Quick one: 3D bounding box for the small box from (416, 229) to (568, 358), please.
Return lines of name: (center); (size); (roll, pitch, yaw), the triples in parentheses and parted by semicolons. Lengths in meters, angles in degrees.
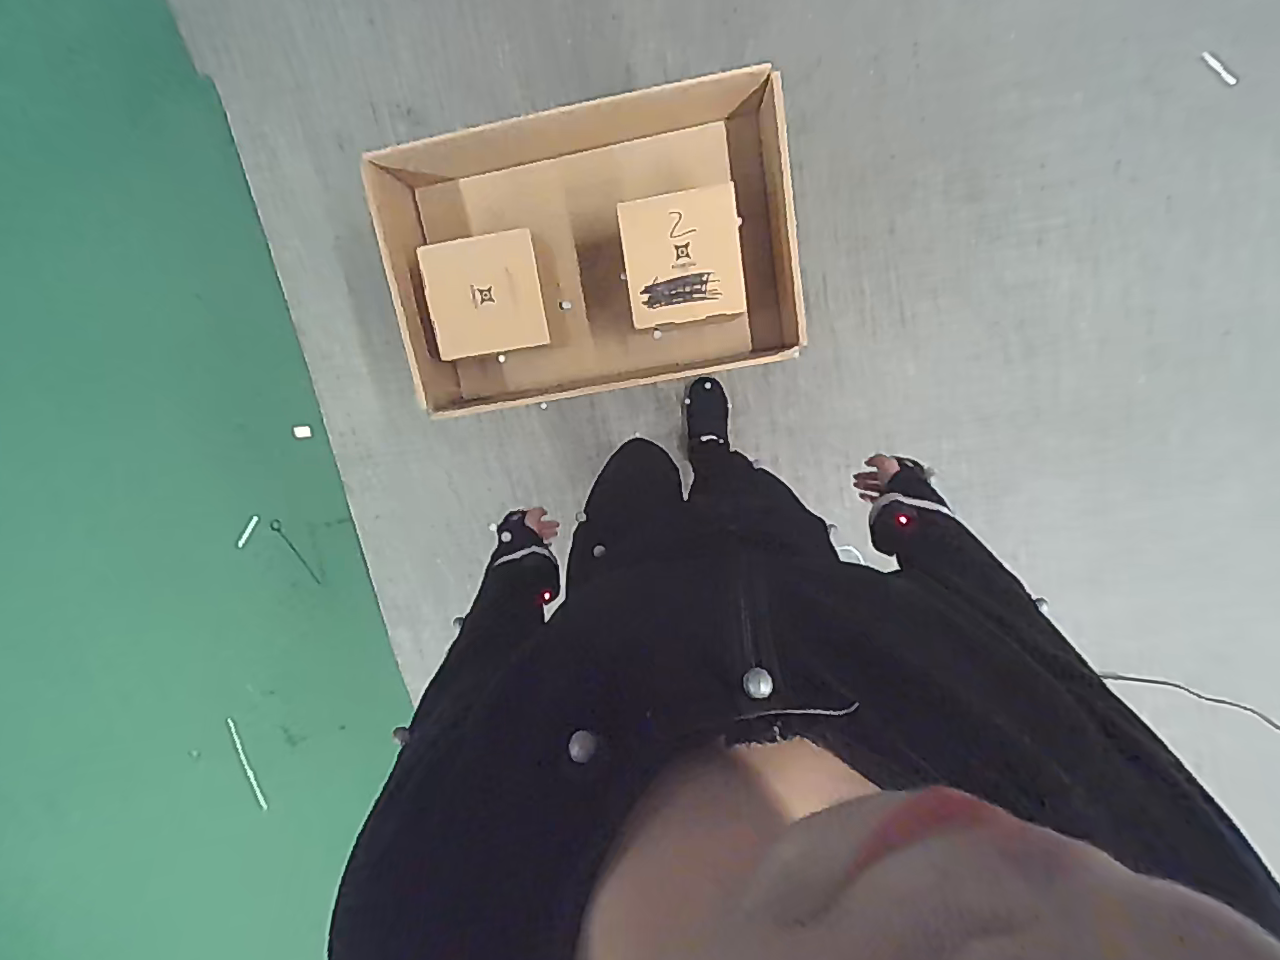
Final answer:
small box: (-0.227, -0.289, 0.874); (0.179, 0.176, 0.168); (-7, 103, 5)
